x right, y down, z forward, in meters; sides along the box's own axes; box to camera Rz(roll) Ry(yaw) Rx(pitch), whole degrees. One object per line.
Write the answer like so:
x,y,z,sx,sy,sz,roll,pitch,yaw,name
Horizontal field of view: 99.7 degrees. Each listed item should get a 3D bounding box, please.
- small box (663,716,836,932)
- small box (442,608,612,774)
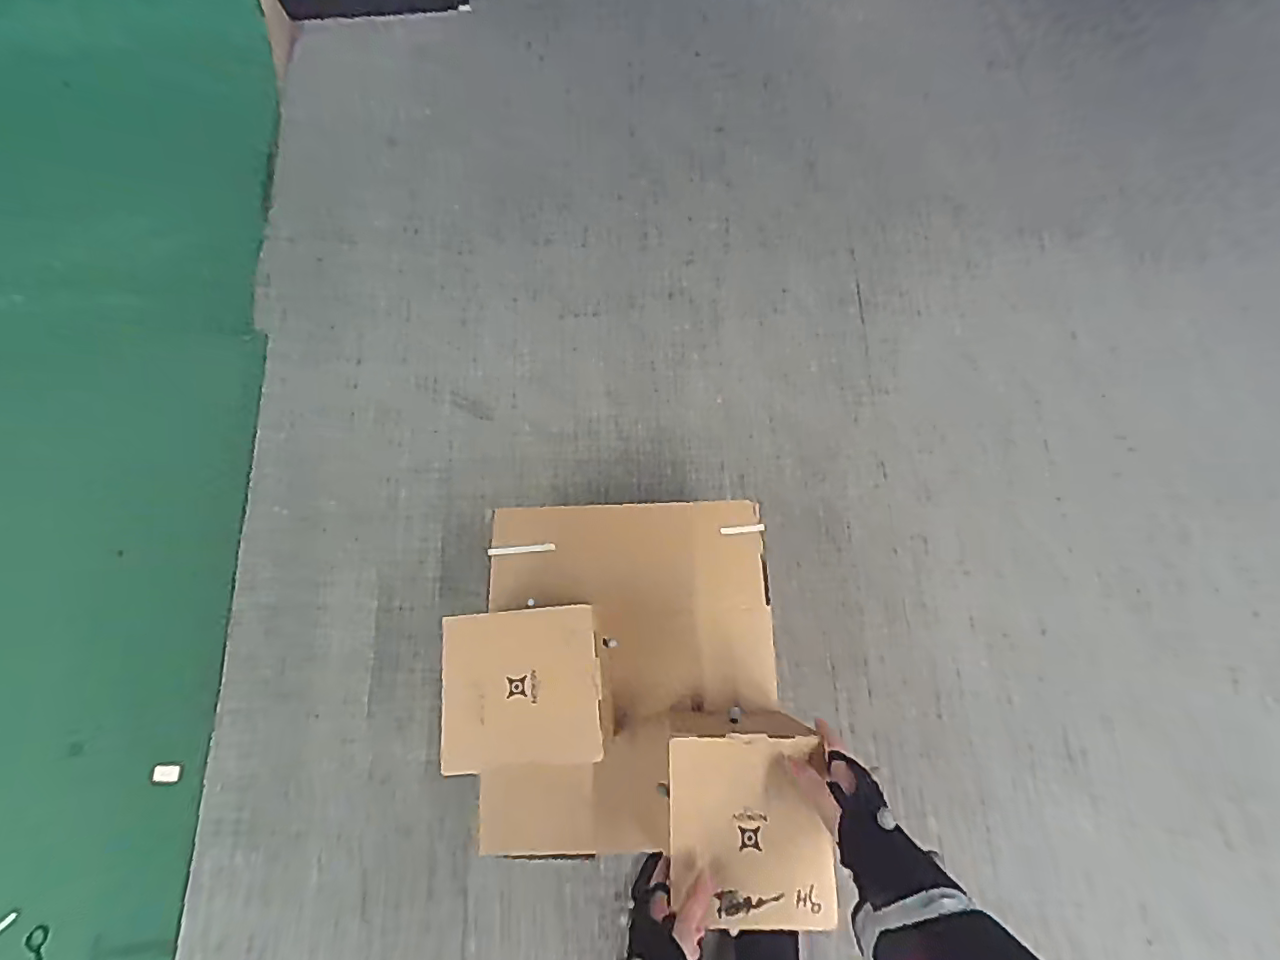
0.112,0.376,0.625,0.168,0.176,0.179,1,74,1,small box
-0.127,0.250,0.670,0.179,0.176,0.168,-5,73,1,small box
